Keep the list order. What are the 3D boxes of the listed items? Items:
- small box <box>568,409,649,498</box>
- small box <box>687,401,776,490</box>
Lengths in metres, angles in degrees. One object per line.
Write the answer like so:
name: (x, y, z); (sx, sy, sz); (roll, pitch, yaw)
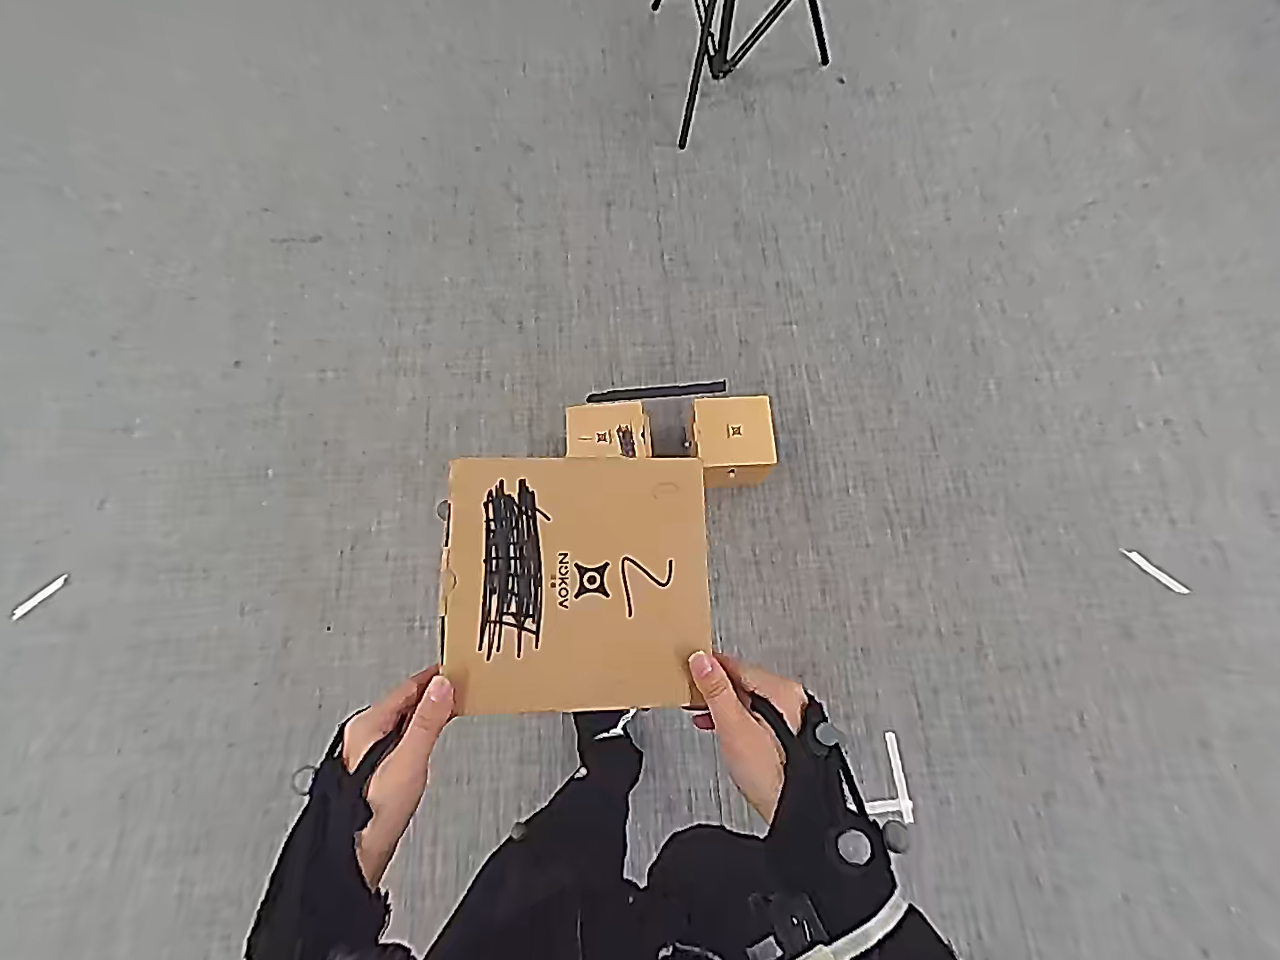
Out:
small box: (-0.073, -0.058, 1.283); (0.179, 0.176, 0.168); (-4, 73, 0)
small box: (0.211, -0.076, 1.289); (0.179, 0.176, 0.168); (-3, 73, 0)
